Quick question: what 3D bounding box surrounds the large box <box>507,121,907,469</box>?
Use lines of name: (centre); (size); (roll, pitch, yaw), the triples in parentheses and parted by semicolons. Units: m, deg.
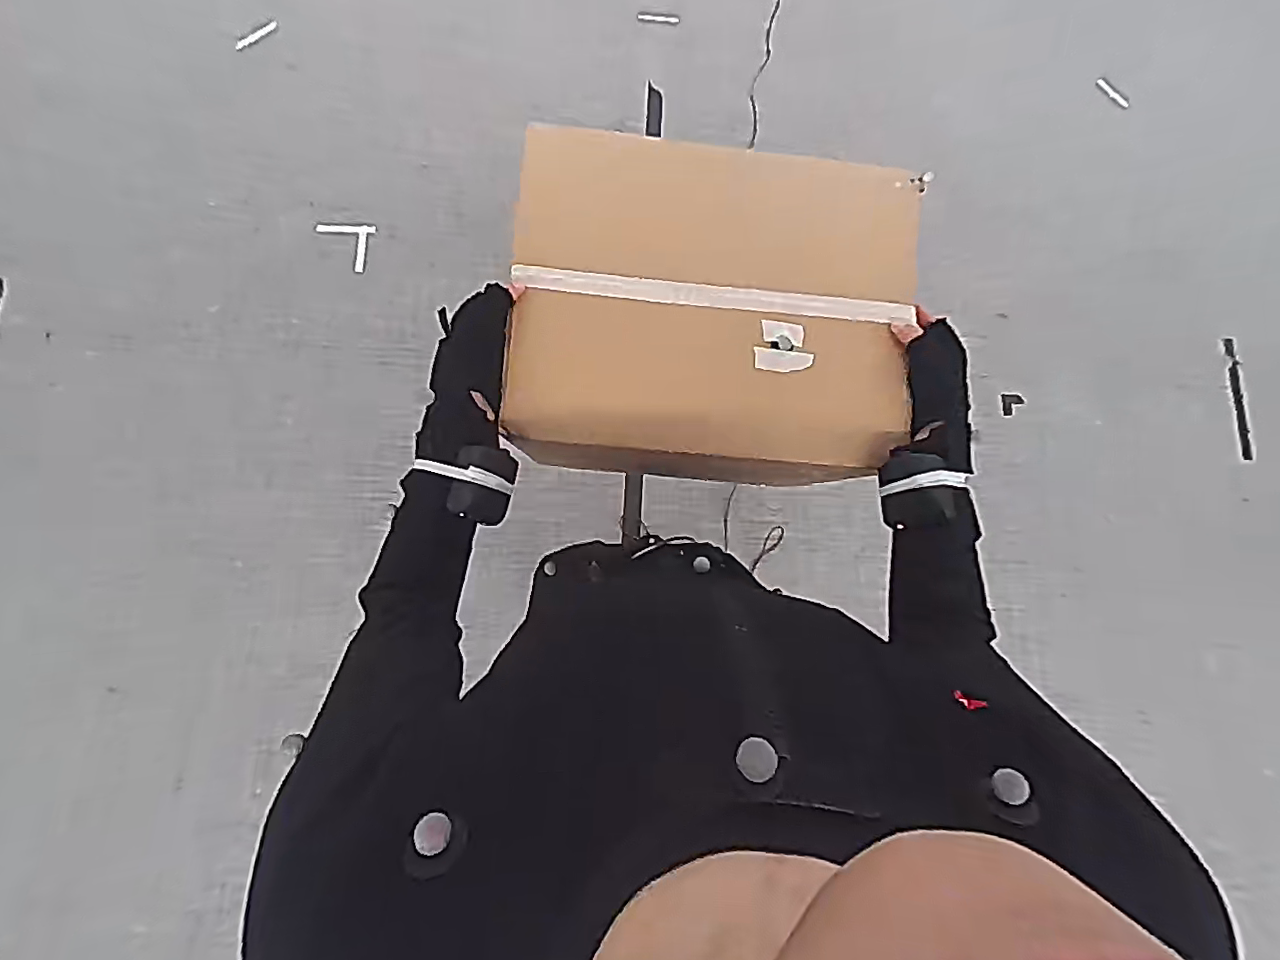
large box: (0.061, -0.188, 0.696); (0.408, 0.320, 0.320); (5, 88, -5)
